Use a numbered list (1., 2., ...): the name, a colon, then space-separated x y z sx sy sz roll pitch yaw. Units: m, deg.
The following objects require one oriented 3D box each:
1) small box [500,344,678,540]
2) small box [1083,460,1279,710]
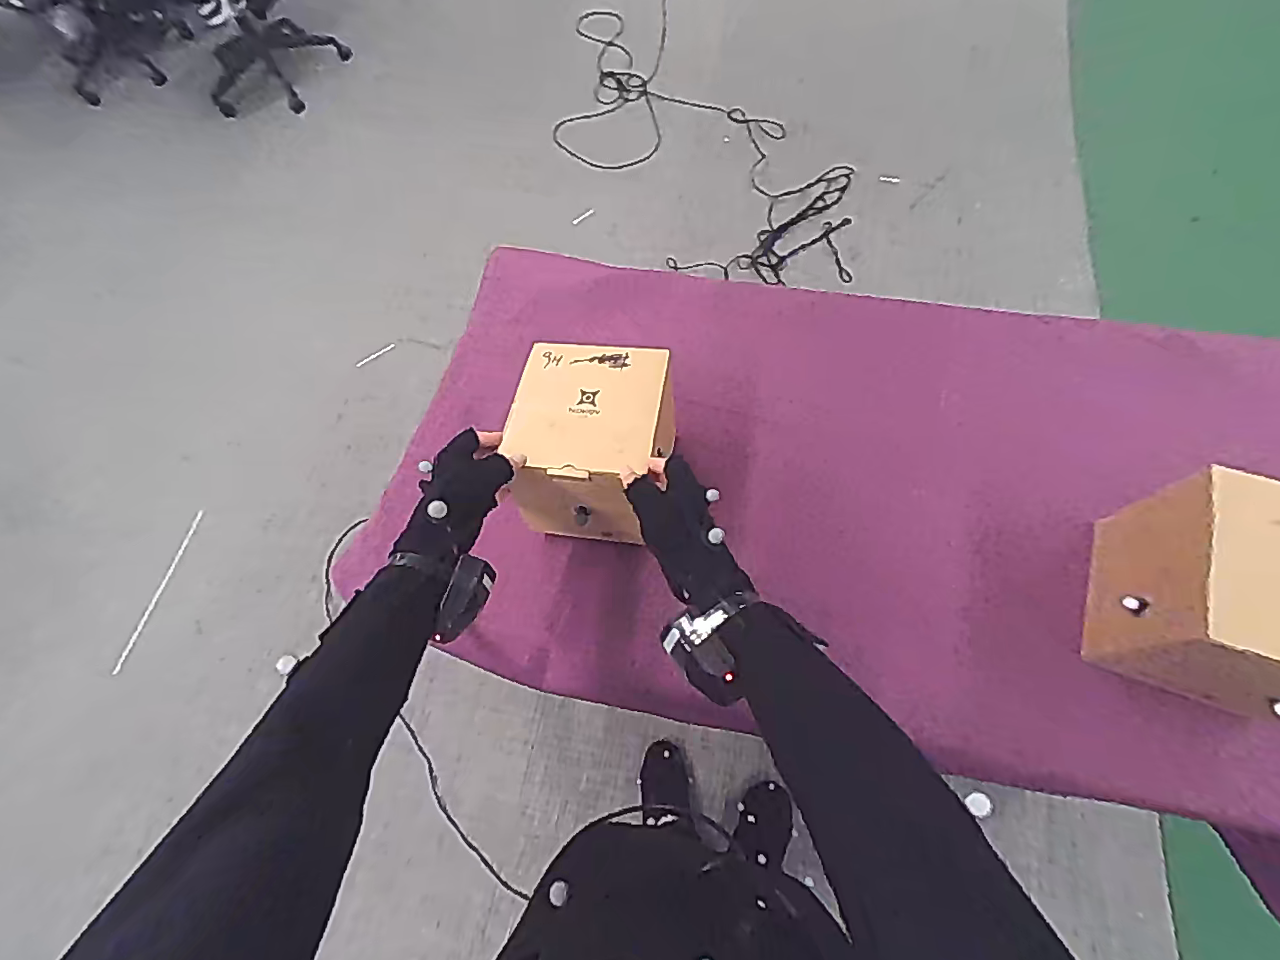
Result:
1. small box: -0.046 -0.040 0.658 0.168 0.176 0.179 5 61 9
2. small box: 0.584 0.112 0.534 0.168 0.176 0.179 19 69 14
